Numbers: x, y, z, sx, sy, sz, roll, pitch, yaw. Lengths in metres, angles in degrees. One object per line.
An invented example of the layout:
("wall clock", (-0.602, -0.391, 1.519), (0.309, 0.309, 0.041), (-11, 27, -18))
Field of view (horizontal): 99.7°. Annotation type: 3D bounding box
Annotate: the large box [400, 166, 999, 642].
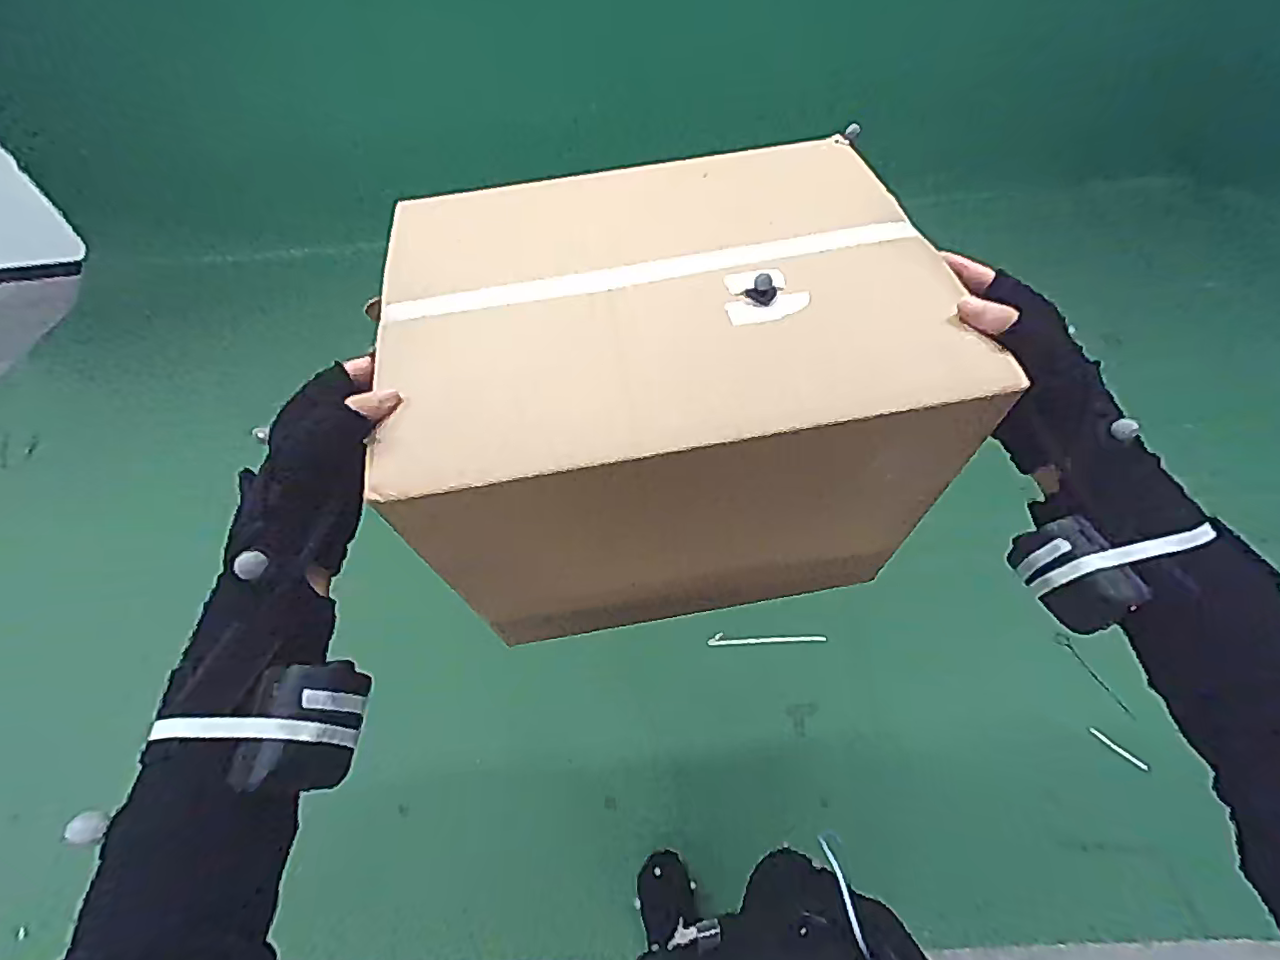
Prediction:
("large box", (0.024, -0.062, 0.547), (0.408, 0.320, 0.320), (-9, 58, -3))
